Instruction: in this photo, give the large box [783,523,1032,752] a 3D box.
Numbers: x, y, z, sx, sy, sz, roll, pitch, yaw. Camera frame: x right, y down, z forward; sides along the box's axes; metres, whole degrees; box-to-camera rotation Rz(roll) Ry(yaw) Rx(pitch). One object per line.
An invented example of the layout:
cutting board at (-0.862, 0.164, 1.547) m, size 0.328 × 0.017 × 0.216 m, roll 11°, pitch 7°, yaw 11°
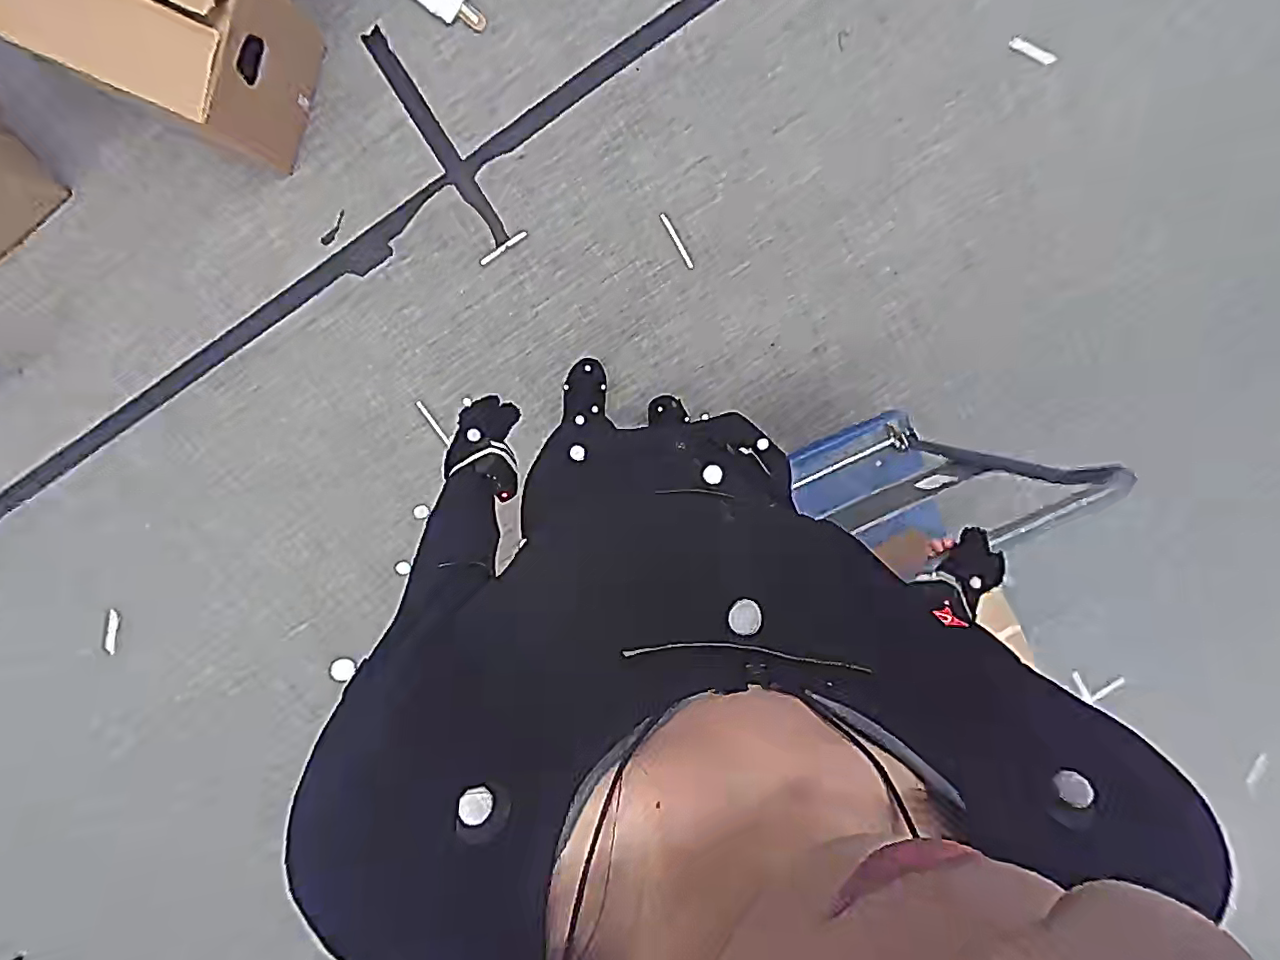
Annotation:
large box at (0.643, 0.372, 1.354) m, size 0.408 × 0.320 × 0.320 m, roll -32°, pitch 104°, yaw 4°
